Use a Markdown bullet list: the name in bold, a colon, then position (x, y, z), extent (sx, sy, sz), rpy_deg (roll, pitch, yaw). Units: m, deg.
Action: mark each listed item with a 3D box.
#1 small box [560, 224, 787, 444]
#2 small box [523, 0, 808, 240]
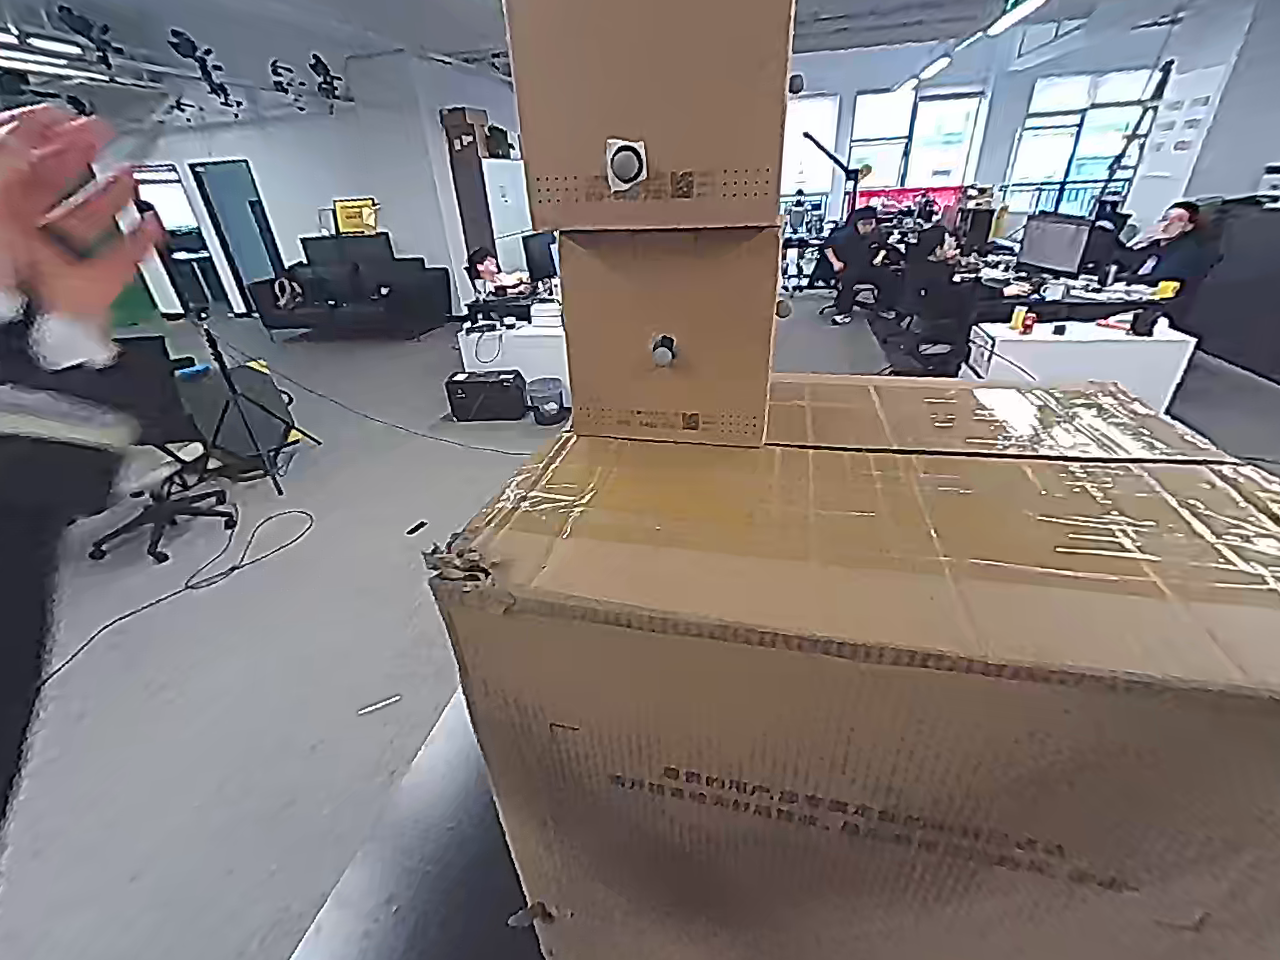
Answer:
- **small box**: position (0.042, -0.142, 0.491), extent (0.168, 0.176, 0.179), rpy_deg (5, 30, 12)
- **small box**: position (0.025, -0.270, 0.385), extent (0.168, 0.176, 0.179), rpy_deg (2, 29, 10)
